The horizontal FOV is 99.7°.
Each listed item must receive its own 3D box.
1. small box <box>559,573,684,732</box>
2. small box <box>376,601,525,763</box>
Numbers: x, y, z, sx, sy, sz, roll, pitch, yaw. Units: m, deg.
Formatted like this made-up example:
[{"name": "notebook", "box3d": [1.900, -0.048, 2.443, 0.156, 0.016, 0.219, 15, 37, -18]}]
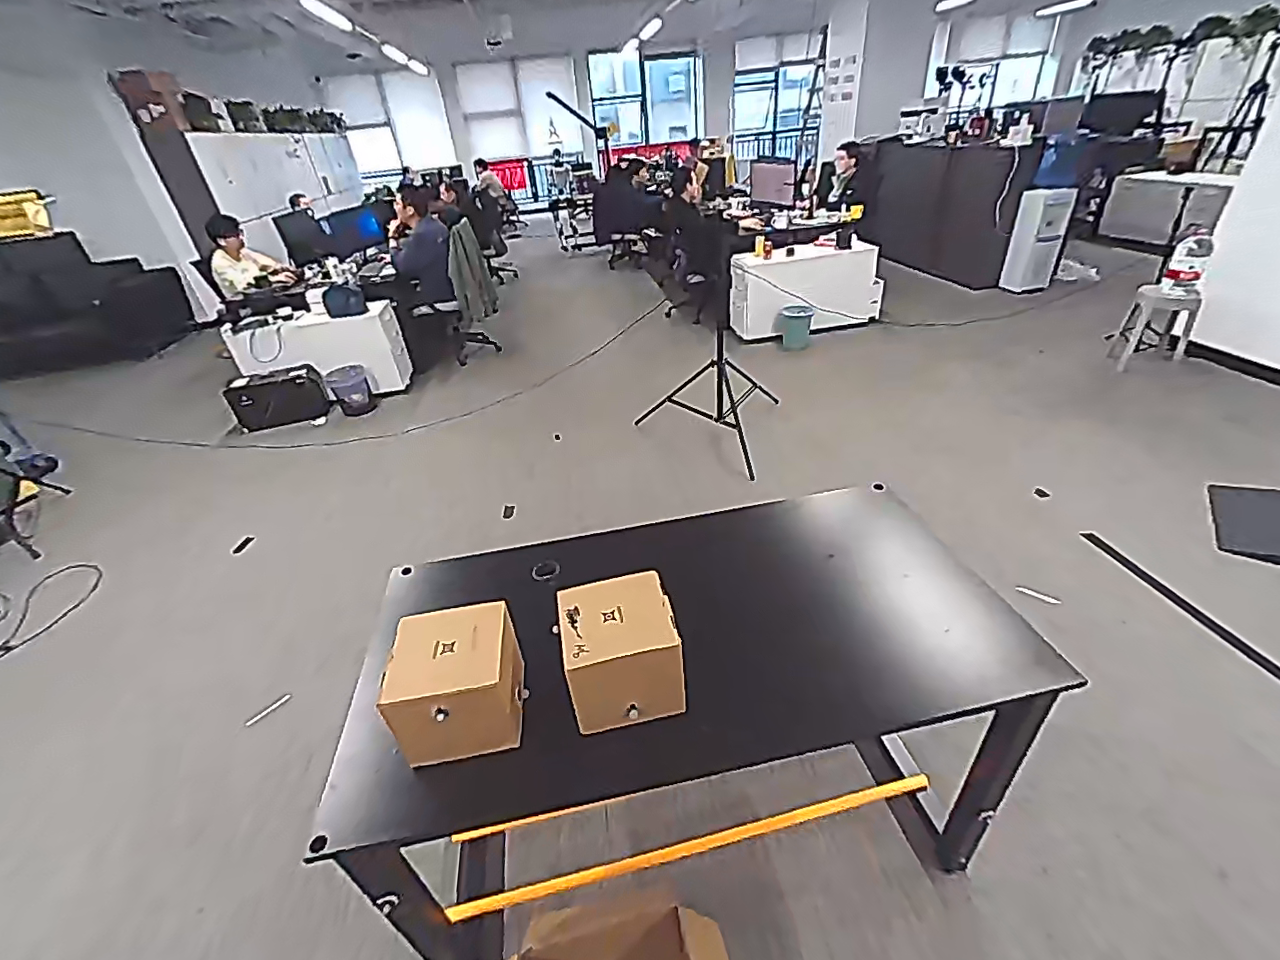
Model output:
[{"name": "small box", "box3d": [-0.031, 0.282, 0.892, 0.179, 0.176, 0.168, -10, 33, -7]}, {"name": "small box", "box3d": [-0.290, 0.325, 0.869, 0.179, 0.176, 0.168, -9, 34, -6]}]
